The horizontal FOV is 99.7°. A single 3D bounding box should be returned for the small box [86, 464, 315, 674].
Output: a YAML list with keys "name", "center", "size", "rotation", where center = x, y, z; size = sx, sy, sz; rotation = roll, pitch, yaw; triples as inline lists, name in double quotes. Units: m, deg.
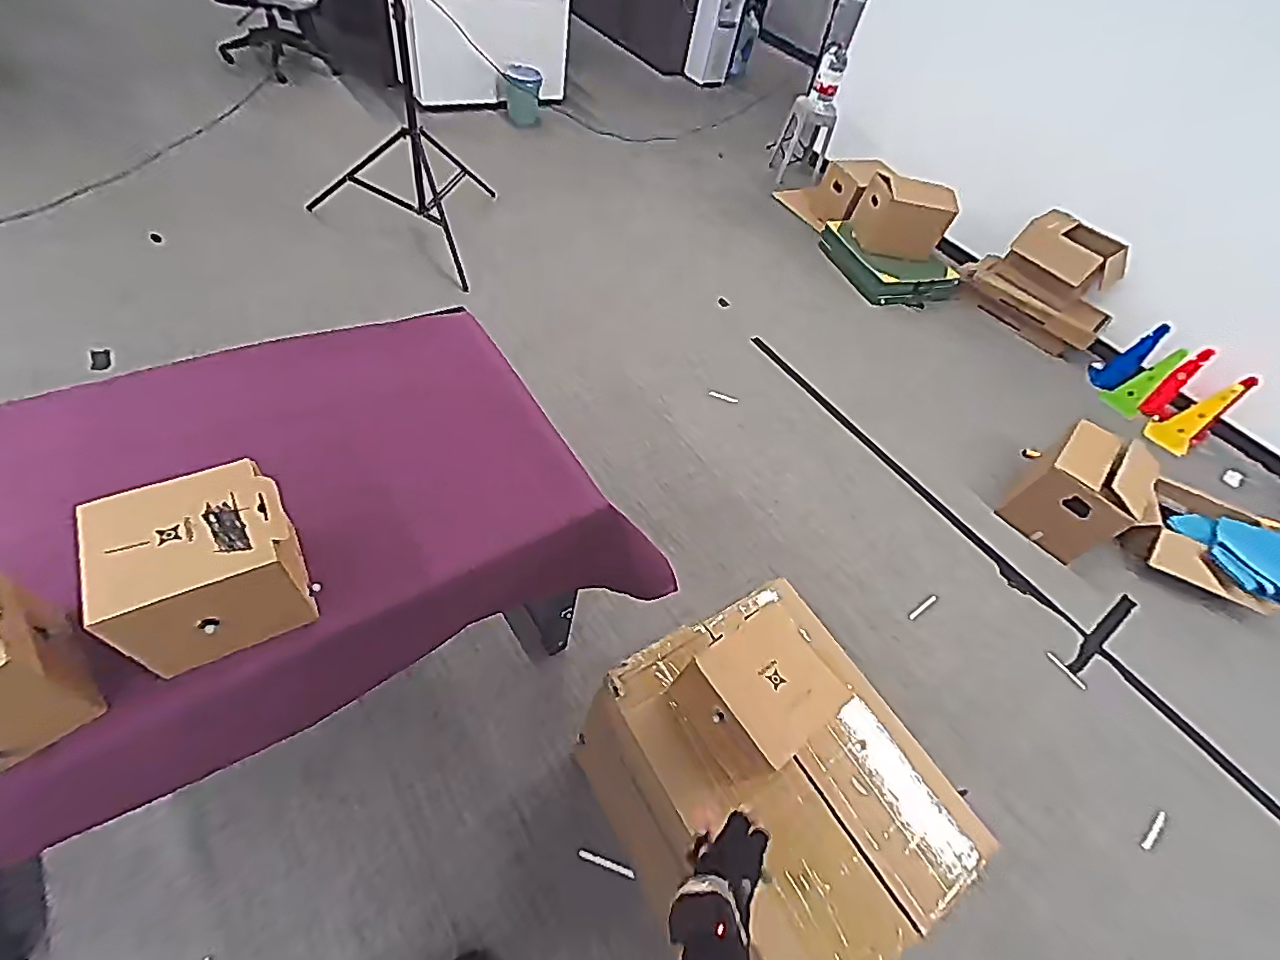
- name: "small box"
  center: [-0.535, 0.113, 0.681]
  size: [0.179, 0.176, 0.168]
  rotation: [-21, 59, -26]

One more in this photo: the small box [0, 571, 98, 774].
- name: "small box"
  center: [-0.721, 0.213, 0.558]
  size: [0.168, 0.176, 0.179]
  rotation: [41, 53, 20]

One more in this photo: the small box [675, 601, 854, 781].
- name: "small box"
  center: [0.175, 0.322, 0.819]
  size: [0.168, 0.176, 0.179]
  rotation: [-28, 64, -27]
